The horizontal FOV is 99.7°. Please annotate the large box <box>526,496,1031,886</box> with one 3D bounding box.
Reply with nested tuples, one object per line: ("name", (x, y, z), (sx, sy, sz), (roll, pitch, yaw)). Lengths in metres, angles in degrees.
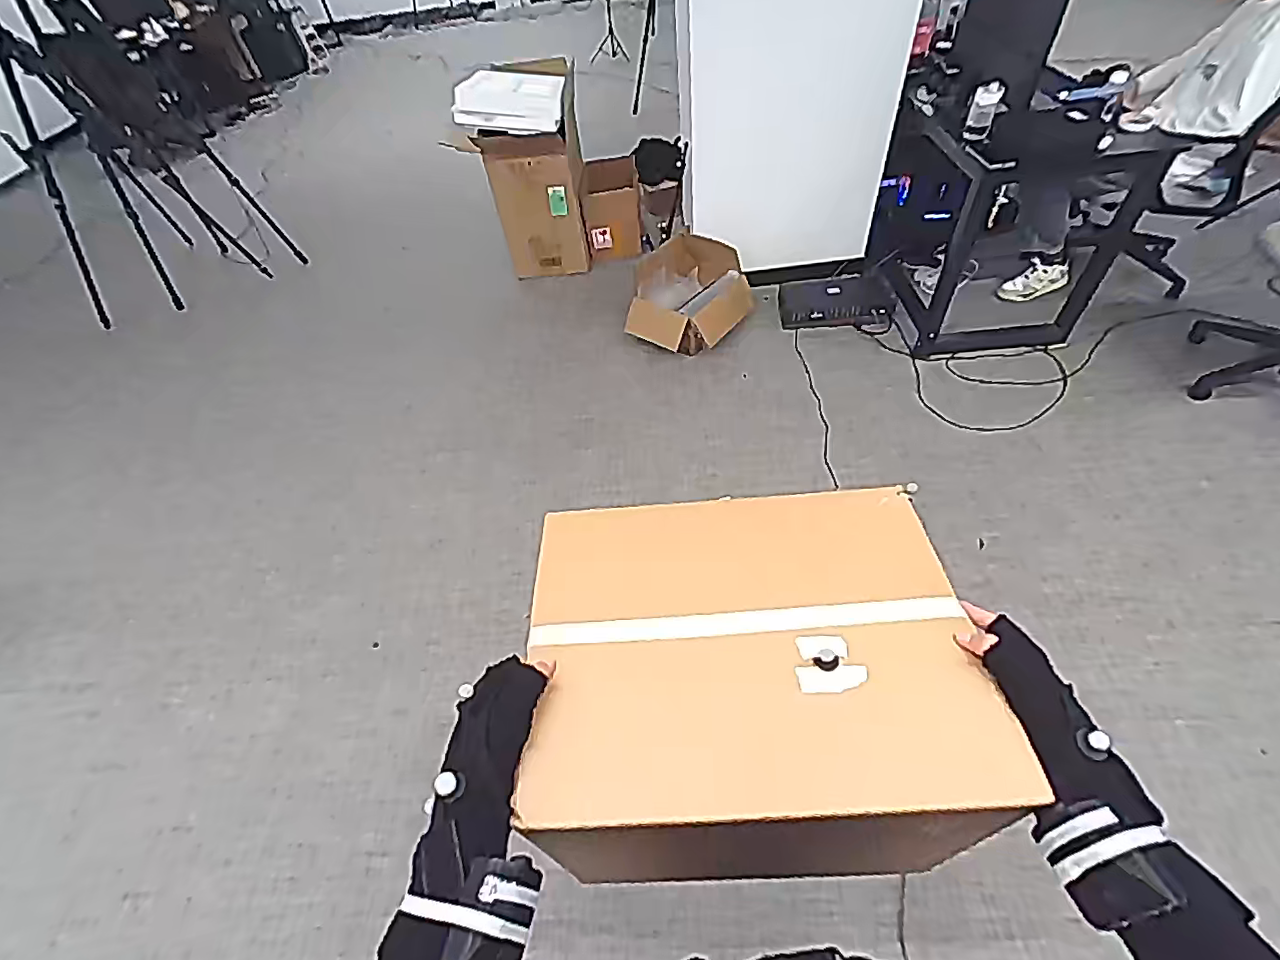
("large box", (0.112, 0.248, 0.629), (0.408, 0.320, 0.320), (-5, 46, 3))
